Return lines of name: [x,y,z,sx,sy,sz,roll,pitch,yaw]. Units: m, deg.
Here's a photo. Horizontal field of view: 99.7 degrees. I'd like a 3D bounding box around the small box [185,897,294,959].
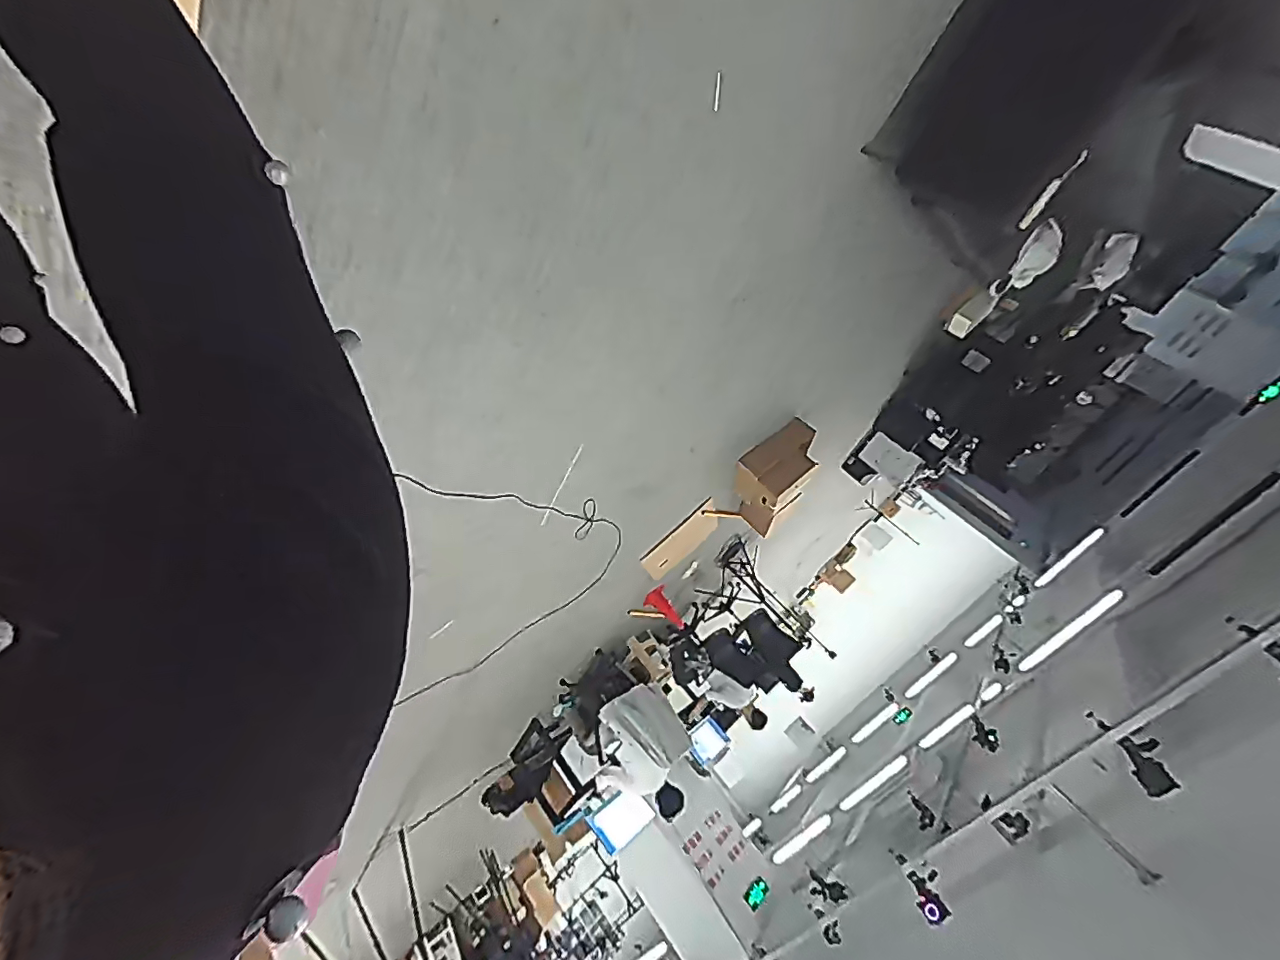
small box: [-1.008,1.208,1.356,0.179,0.176,0.168,-8,136,-52]
